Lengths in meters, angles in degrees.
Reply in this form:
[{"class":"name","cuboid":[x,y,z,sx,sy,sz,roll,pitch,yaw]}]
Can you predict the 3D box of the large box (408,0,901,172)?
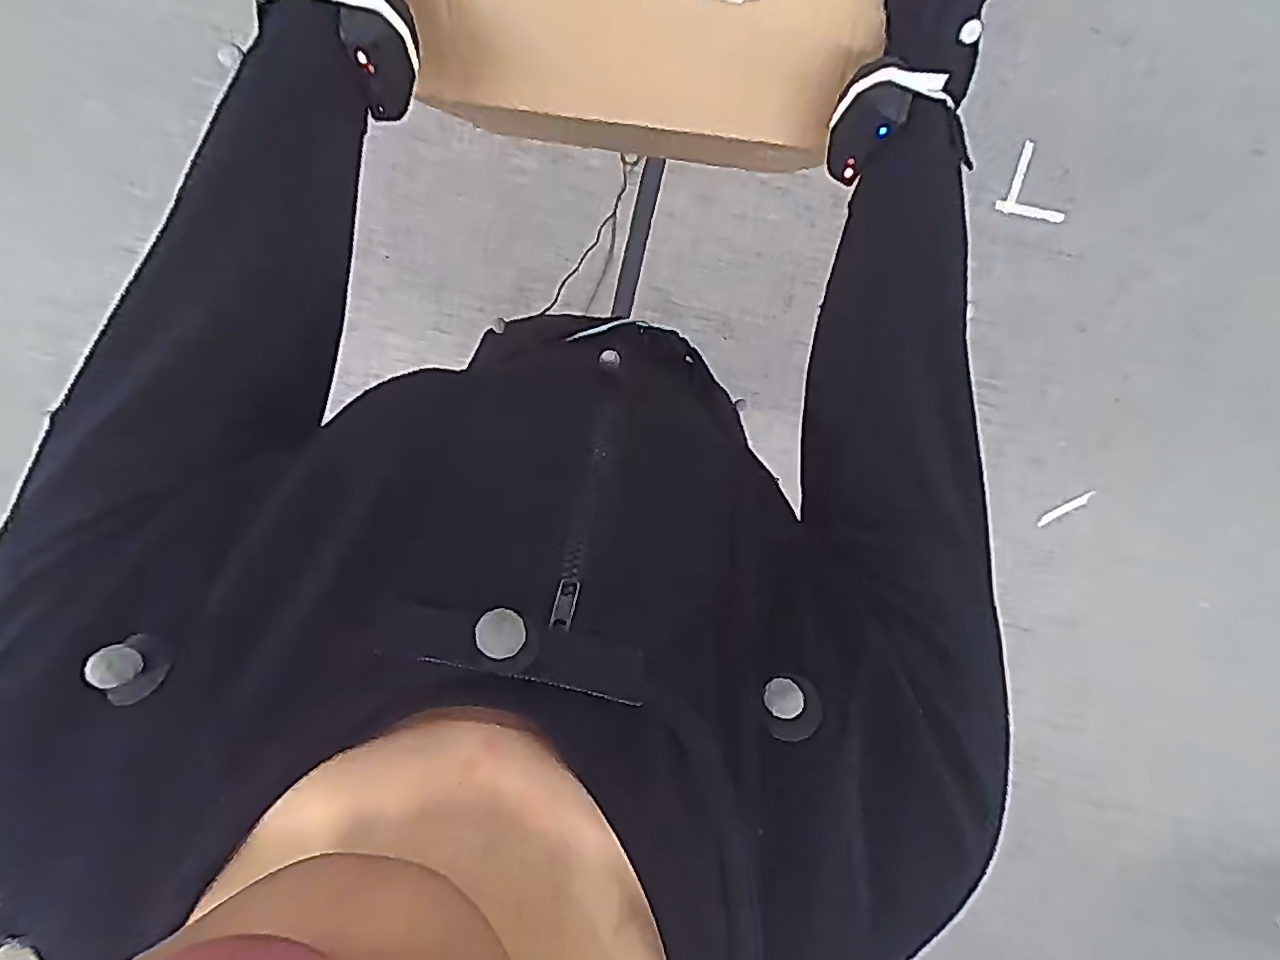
[{"class":"large box","cuboid":[0.017,-0.510,0.538,0.408,0.320,0.320,6,118,-3]}]
